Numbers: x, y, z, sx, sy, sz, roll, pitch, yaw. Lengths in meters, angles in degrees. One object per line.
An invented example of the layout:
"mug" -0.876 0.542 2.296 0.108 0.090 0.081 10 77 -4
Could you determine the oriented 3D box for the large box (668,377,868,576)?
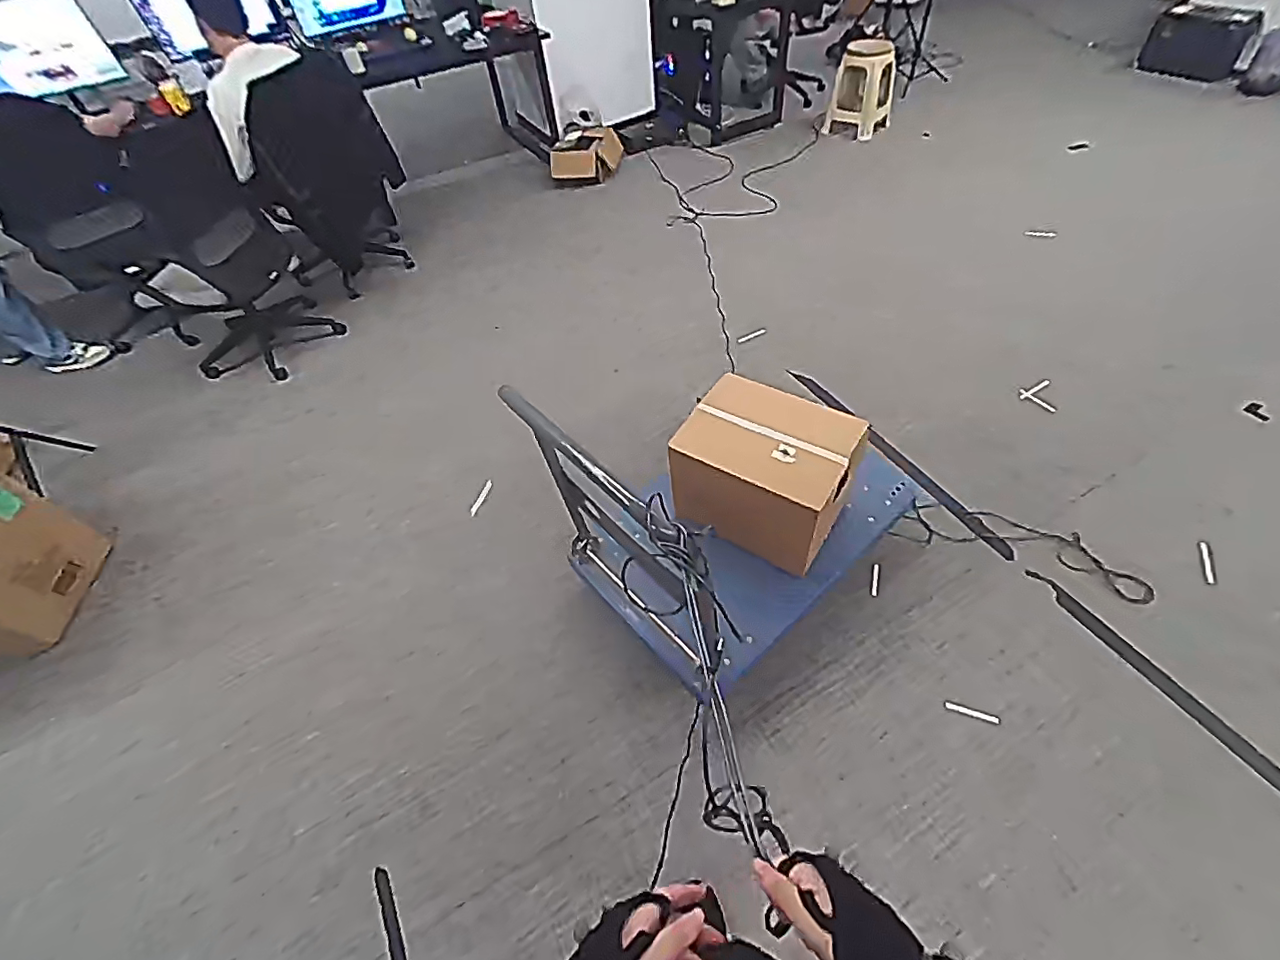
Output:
"large box" 0.325 -0.014 1.445 0.408 0.320 0.320 26 60 24
